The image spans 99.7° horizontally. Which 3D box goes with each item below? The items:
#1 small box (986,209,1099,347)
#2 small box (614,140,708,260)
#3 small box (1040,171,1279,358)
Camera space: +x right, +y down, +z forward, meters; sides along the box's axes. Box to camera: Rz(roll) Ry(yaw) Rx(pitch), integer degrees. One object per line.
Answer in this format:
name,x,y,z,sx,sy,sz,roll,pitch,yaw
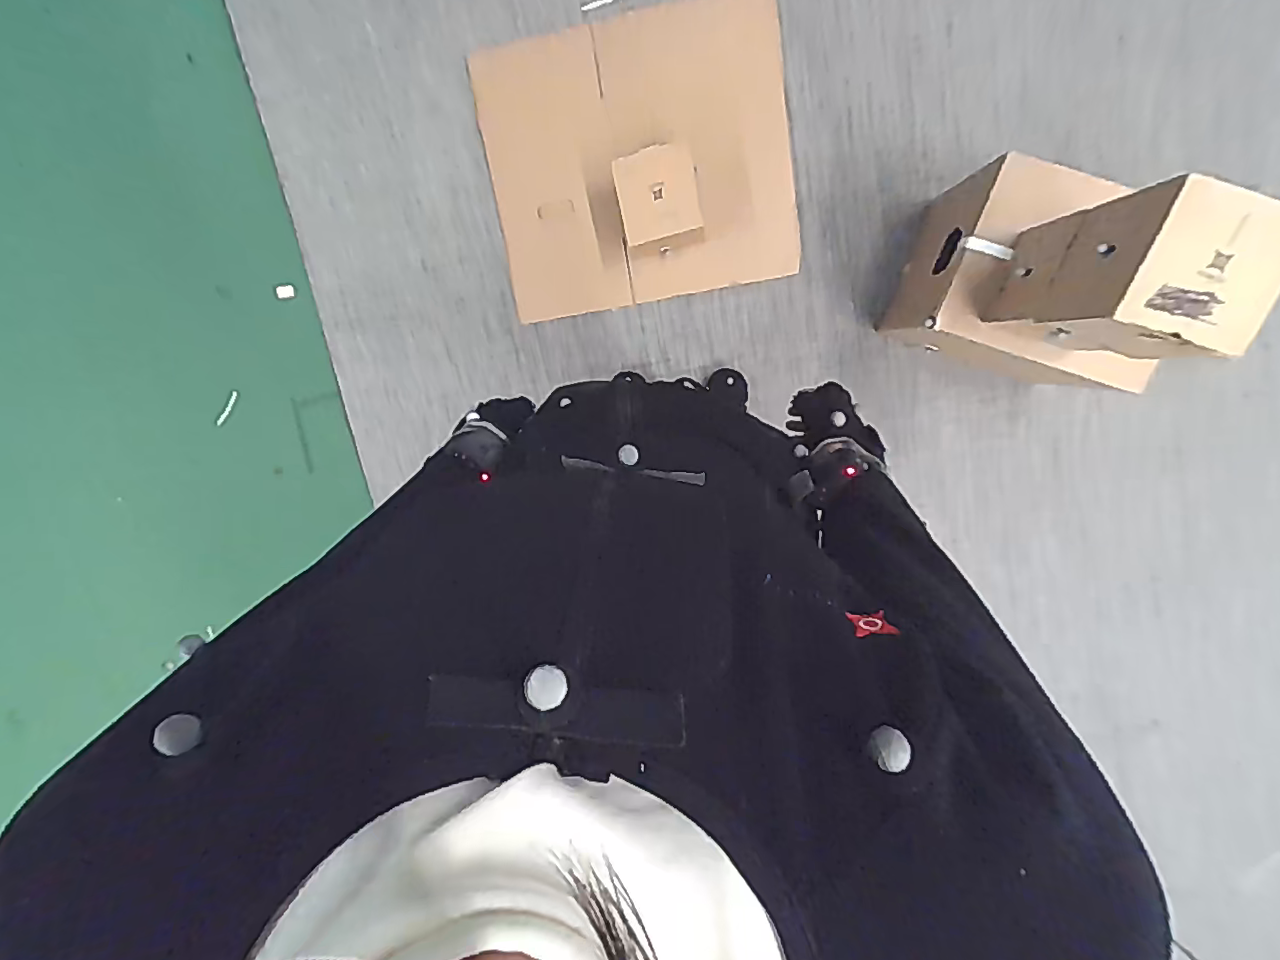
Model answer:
small box,0.718,-0.319,0.889,0.179,0.176,0.168,14,103,2
small box,0.053,-0.606,1.194,0.168,0.176,0.179,-11,102,12
small box,0.693,-0.274,0.729,0.168,0.176,0.179,20,104,1
